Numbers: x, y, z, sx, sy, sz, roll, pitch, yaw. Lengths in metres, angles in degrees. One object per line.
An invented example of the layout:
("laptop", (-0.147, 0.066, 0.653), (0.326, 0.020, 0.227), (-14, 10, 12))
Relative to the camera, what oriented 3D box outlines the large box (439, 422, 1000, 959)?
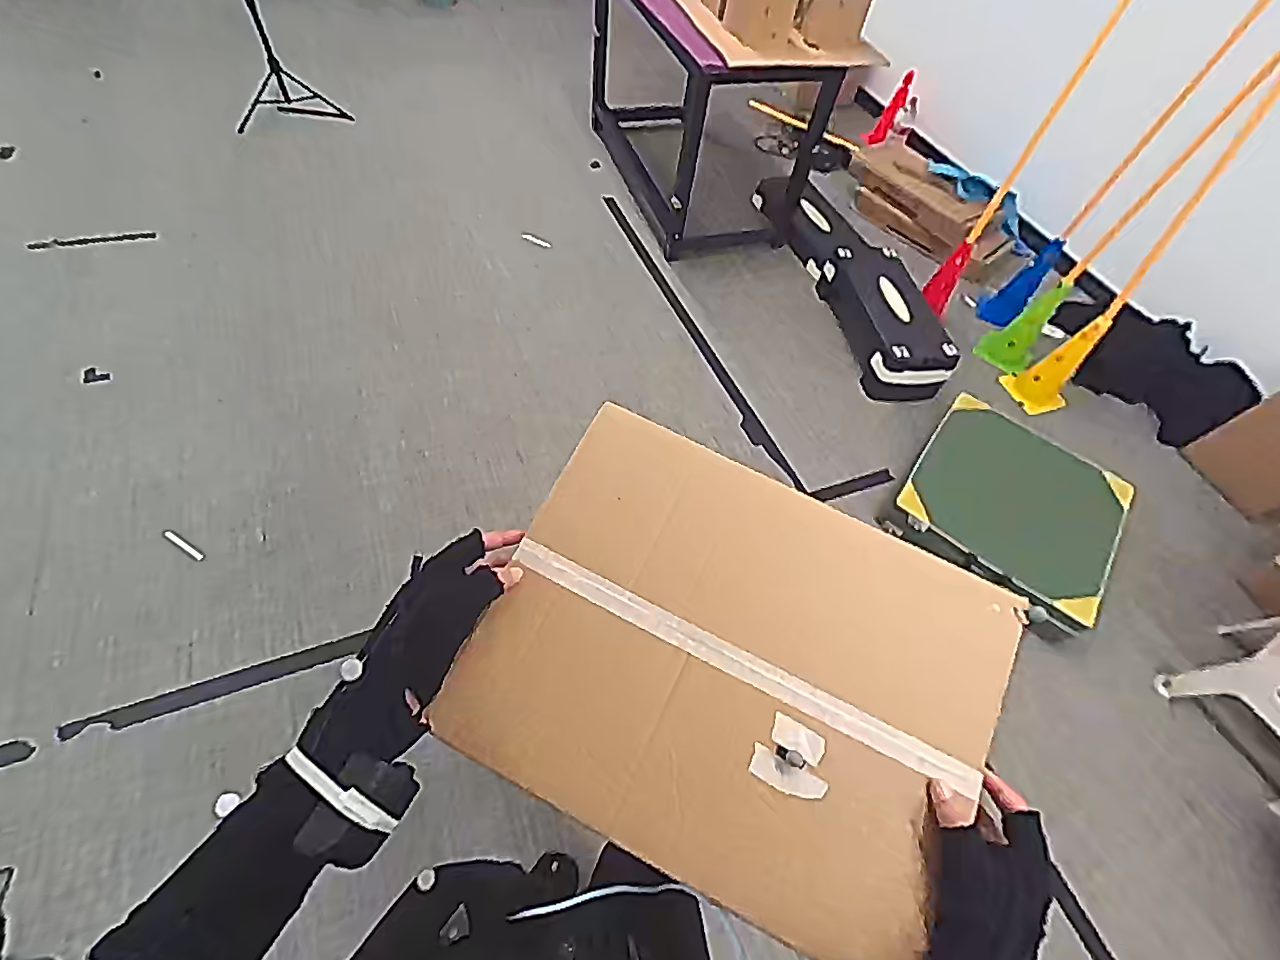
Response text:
("large box", (0.072, 0.198, 0.599), (0.408, 0.320, 0.320), (27, 74, 7))
